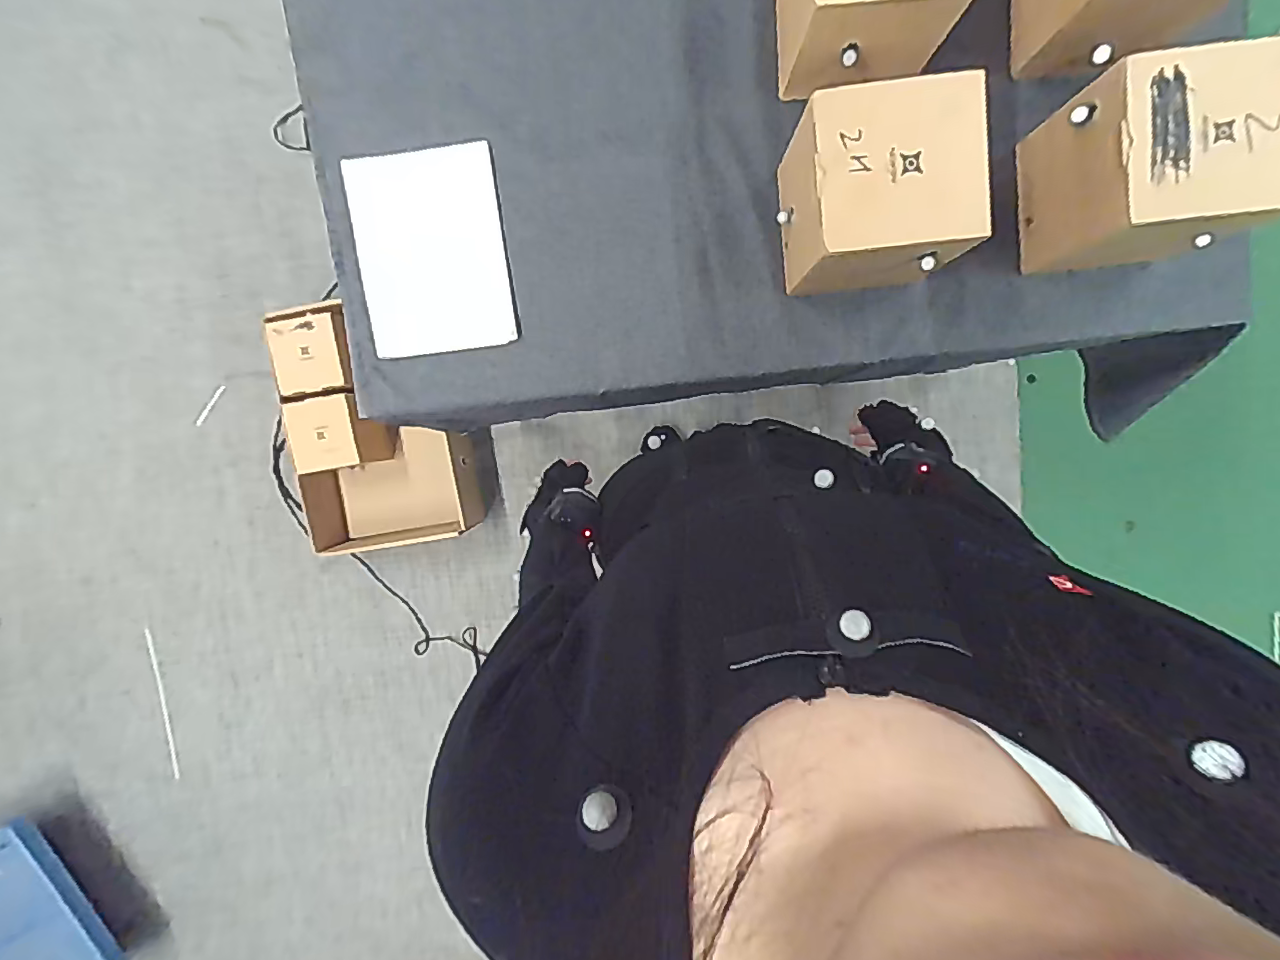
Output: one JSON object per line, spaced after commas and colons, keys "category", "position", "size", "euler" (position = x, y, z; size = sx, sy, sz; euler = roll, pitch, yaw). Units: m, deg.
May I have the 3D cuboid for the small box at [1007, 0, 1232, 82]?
{"category": "small box", "position": [0.544, -0.592, 0.603], "size": [0.168, 0.176, 0.179], "euler": [-3, 96, 3]}

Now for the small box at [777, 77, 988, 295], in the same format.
{"category": "small box", "position": [0.271, -0.327, 0.636], "size": [0.179, 0.176, 0.168], "euler": [-5, 93, 3]}

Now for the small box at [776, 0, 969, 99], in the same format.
{"category": "small box", "position": [0.255, -0.572, 0.620], "size": [0.168, 0.176, 0.179], "euler": [-3, 95, 3]}
